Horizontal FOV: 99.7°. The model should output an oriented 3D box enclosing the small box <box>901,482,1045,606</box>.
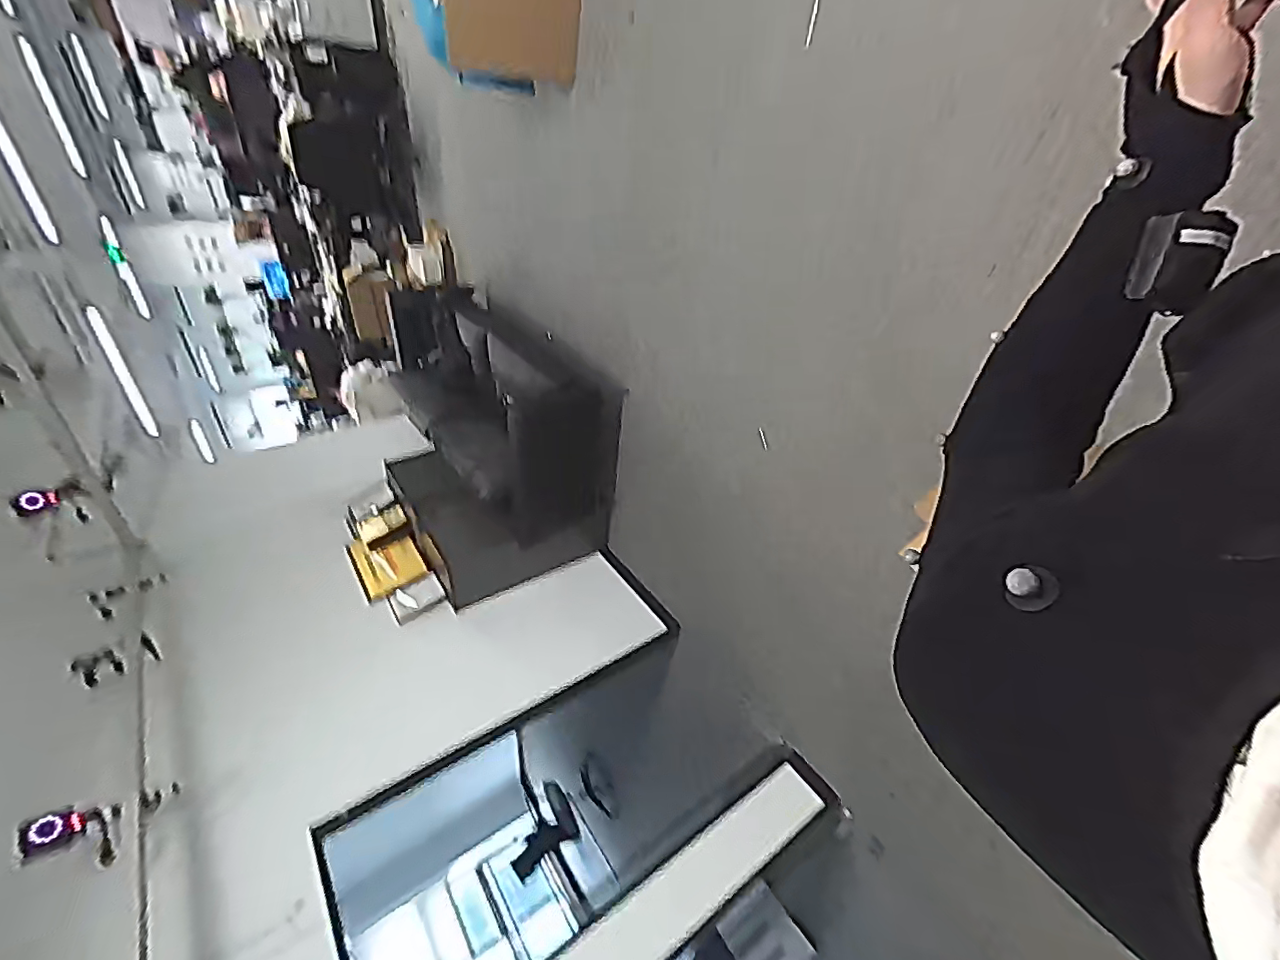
[{"bbox_3d":[0.702,0.129,1.135,0.168,0.176,0.179,55,145,24],"label":"small box"}]
